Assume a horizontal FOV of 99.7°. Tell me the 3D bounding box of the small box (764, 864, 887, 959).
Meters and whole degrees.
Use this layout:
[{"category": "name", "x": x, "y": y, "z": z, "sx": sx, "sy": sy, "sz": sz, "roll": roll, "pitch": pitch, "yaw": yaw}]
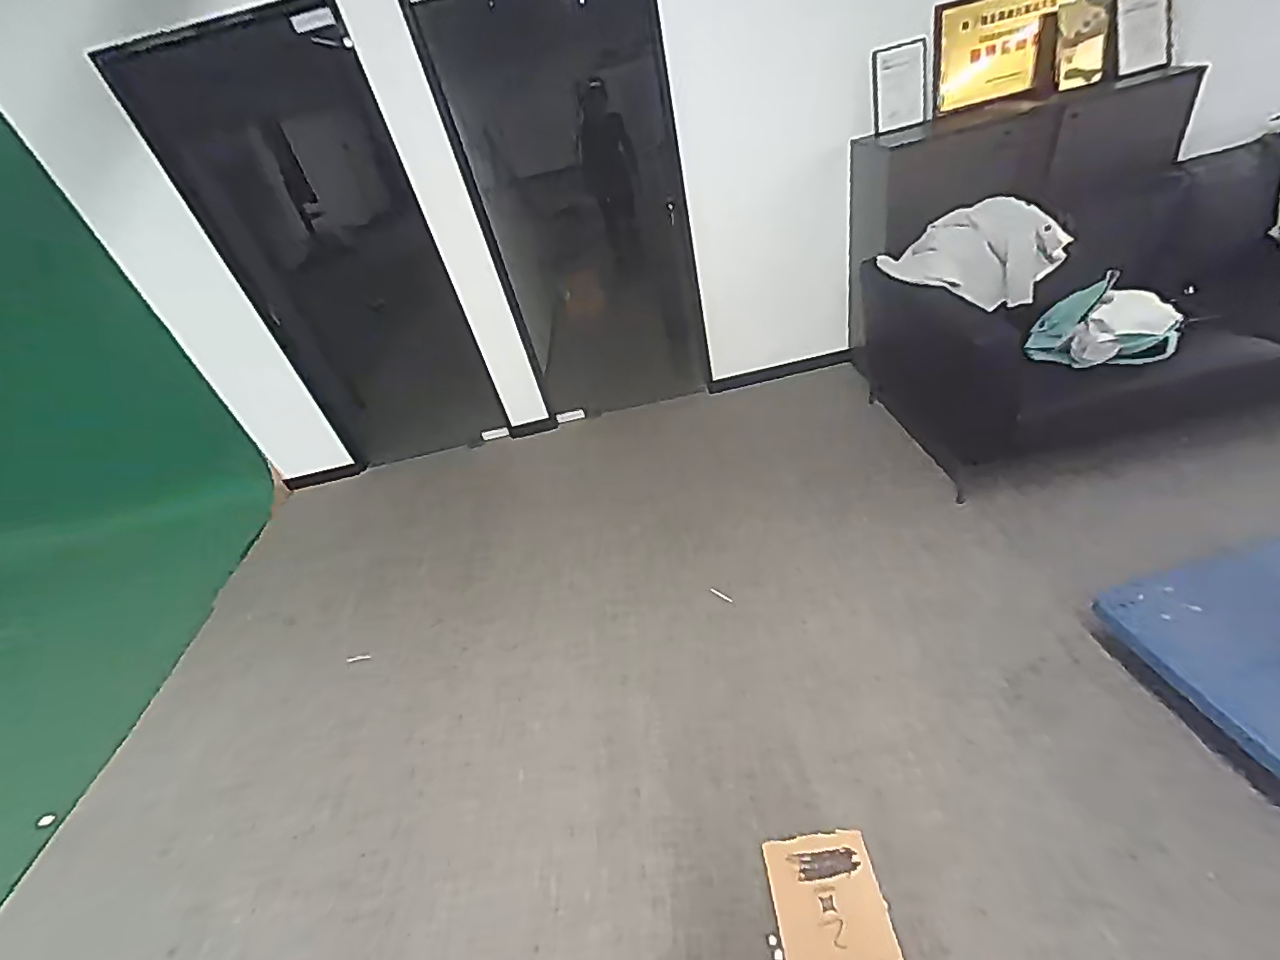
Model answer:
[{"category": "small box", "x": 0.335, "y": 0.831, "z": 0.982, "sx": 0.179, "sy": 0.176, "sz": 0.168, "roll": -11, "pitch": 37, "yaw": 5}]
